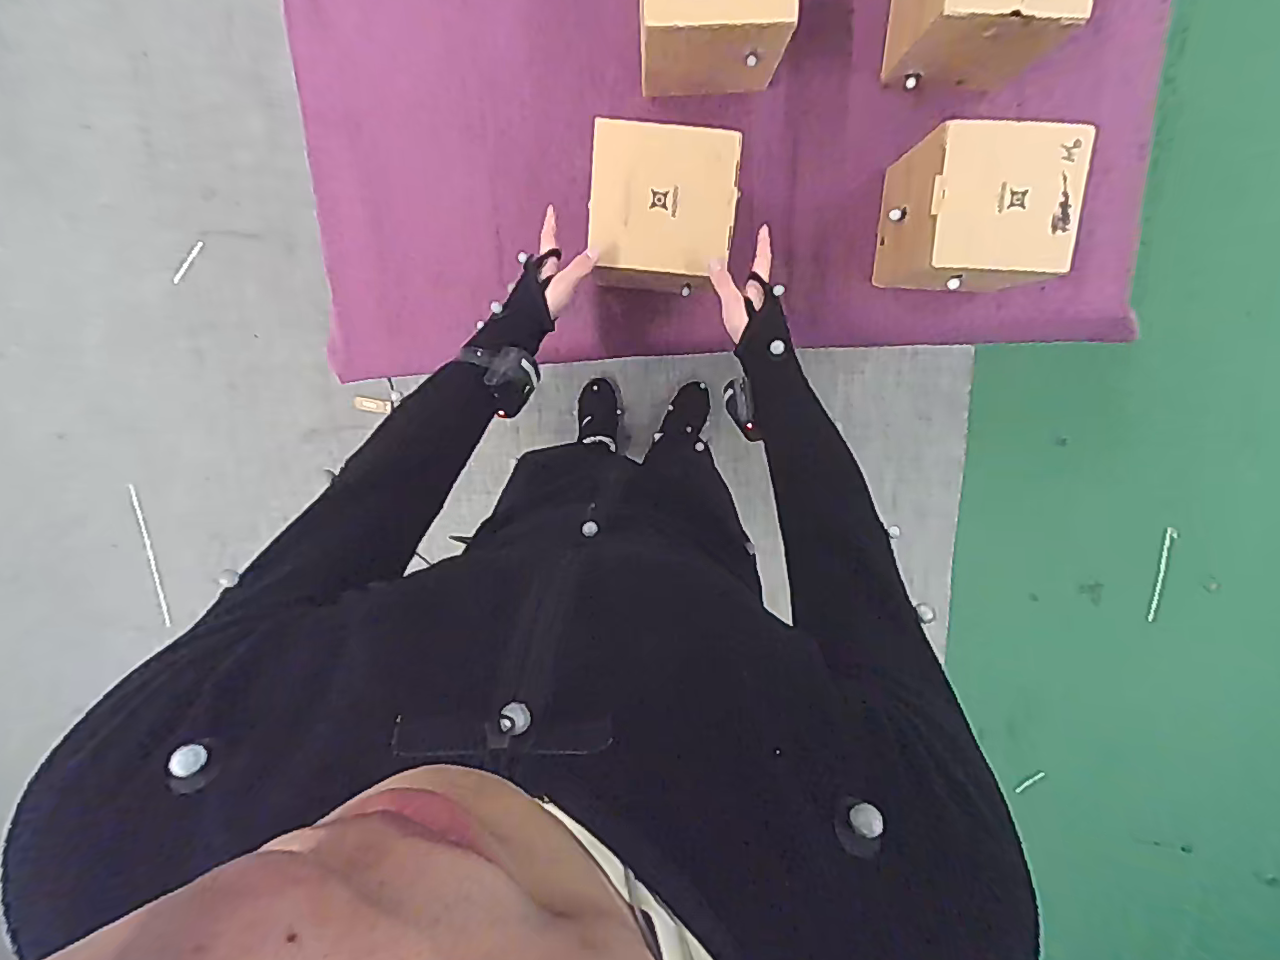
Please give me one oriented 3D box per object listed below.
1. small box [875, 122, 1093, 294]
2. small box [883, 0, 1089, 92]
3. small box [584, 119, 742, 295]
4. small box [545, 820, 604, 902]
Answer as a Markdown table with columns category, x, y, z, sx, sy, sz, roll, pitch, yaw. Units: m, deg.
| category | x | y | z | sx | sy | sz | roll | pitch | yaw |
| --- | --- | --- | --- | --- | --- | --- | --- | --- | --- |
| small box | 0.436 | -0.346 | 0.720 | 0.179 | 0.176 | 0.168 | 3 | 102 | 0 |
| small box | 0.419 | -0.611 | 0.661 | 0.168 | 0.176 | 0.179 | 3 | 102 | -1 |
| small box | 0.026 | -0.347 | 0.721 | 0.179 | 0.176 | 0.168 | 6 | 102 | -1 |
| small box | -0.215 | 1.282 | 1.828 | 0.179 | 0.176 | 0.168 | -3 | 103 | 1 |
